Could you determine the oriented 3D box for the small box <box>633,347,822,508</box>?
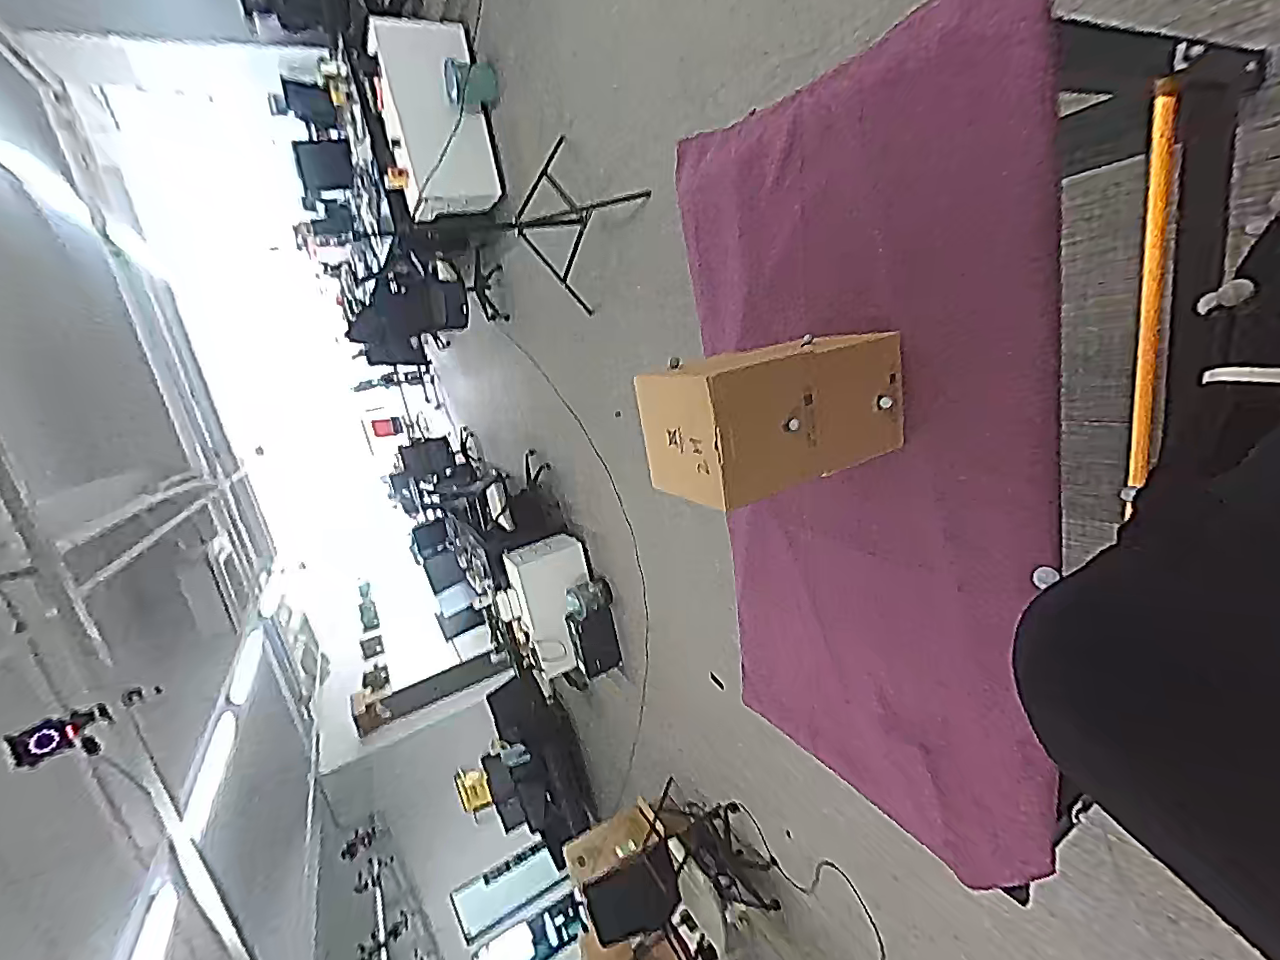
[{"bbox_3d":[0.115,-0.079,0.723,0.179,0.176,0.168,18,123,59],"label":"small box"}]

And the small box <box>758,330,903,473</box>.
[{"bbox_3d":[0.257,-0.122,0.796,0.179,0.176,0.168,18,123,58],"label":"small box"}]
